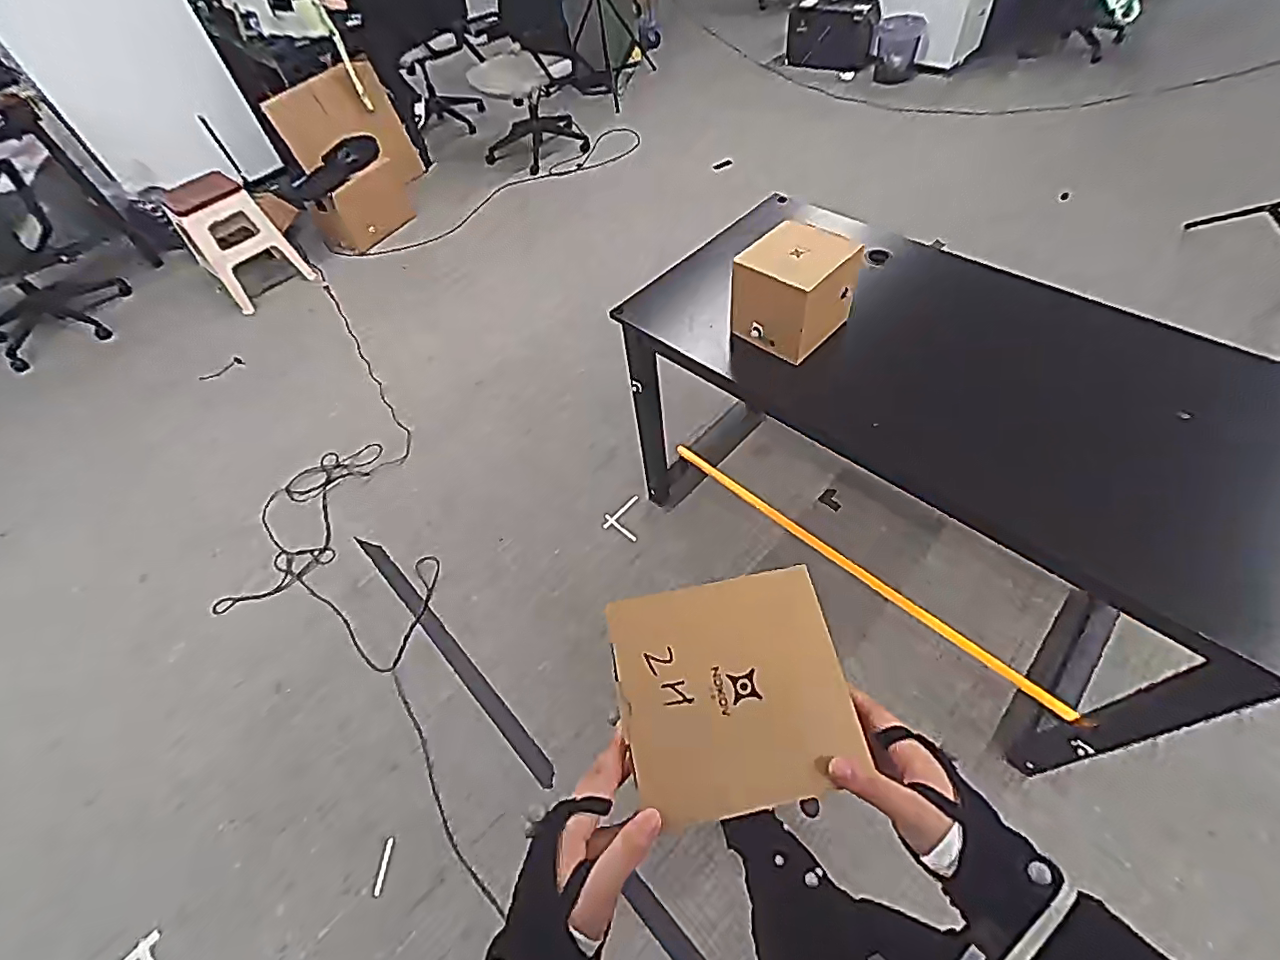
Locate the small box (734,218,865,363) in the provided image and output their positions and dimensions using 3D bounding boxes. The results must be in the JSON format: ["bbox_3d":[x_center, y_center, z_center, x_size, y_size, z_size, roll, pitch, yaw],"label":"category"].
[{"bbox_3d":[0.290,-0.357,1.025,0.168,0.176,0.179,36,66,29],"label":"small box"}]

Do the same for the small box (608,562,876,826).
[{"bbox_3d":[0.071,0.187,0.485,0.179,0.176,0.168,-10,65,-5],"label":"small box"}]
